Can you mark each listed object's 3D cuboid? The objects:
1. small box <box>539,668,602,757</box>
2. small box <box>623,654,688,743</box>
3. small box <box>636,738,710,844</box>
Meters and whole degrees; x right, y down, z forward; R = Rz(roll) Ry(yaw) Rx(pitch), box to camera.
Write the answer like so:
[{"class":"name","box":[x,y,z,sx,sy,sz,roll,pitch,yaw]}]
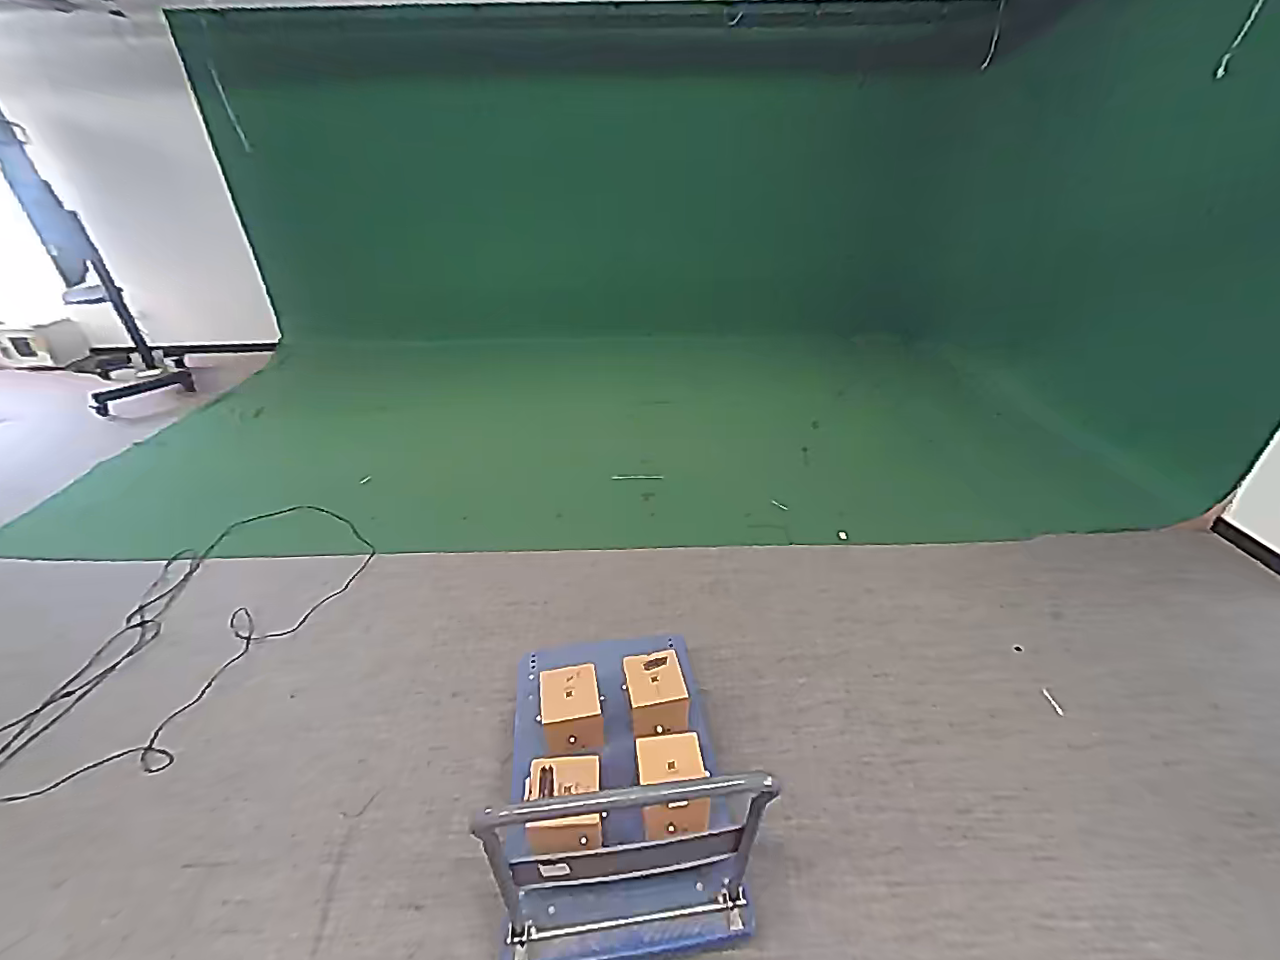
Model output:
[{"class":"small box","box":[-0.204,0.687,1.588,0.168,0.176,0.179,-6,33,-9]},{"class":"small box","box":[0.043,0.658,1.629,0.168,0.176,0.179,-7,34,-8]},{"class":"small box","box":[0.079,0.804,1.404,0.168,0.176,0.179,-4,33,-5]}]
